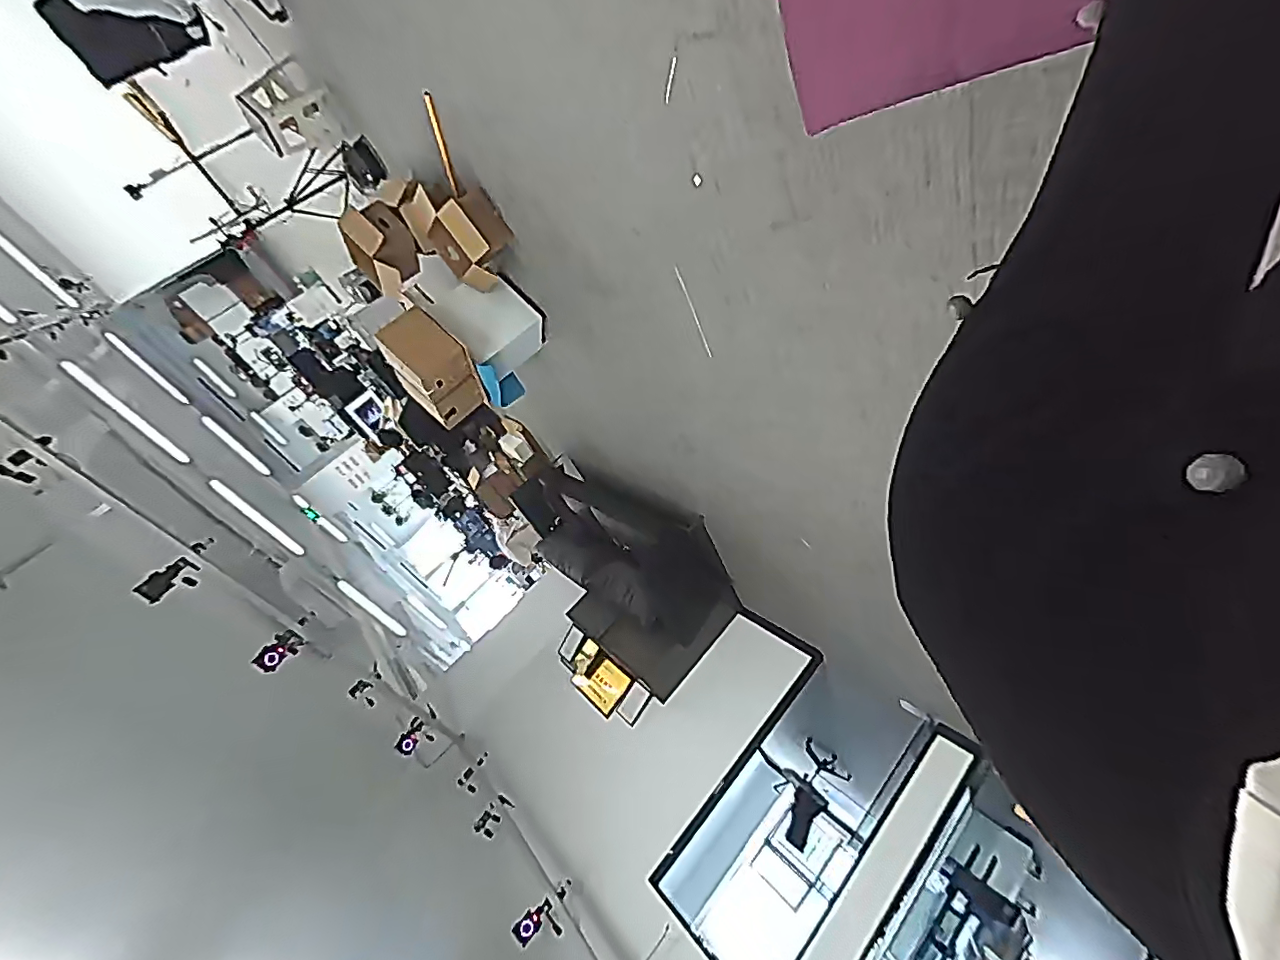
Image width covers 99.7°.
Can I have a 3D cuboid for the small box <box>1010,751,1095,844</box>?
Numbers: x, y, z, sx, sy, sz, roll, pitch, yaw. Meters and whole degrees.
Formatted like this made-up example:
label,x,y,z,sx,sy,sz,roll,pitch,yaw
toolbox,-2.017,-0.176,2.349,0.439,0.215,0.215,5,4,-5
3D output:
label,x,y,z,sx,sy,sz,roll,pitch,yaw
small box,1.338,1.027,1.757,0.168,0.176,0.179,27,152,44
